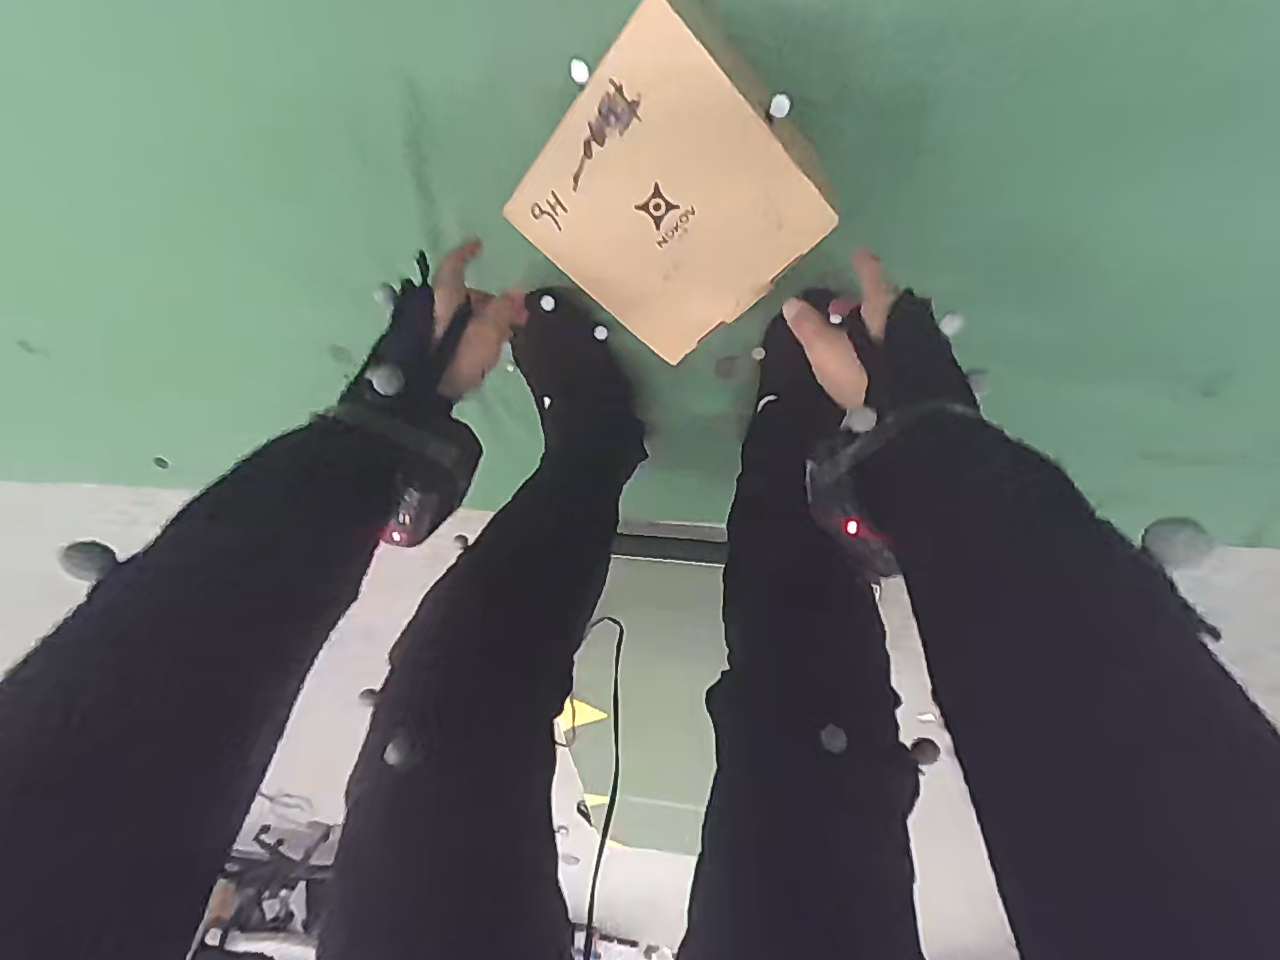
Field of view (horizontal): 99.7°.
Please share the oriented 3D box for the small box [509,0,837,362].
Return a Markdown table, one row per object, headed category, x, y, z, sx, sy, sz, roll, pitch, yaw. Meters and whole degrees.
| category | x | y | z | sx | sy | sz | roll | pitch | yaw |
| --- | --- | --- | --- | --- | --- | --- | --- | --- | --- |
| small box | 0.031 | -0.238 | 0.435 | 0.179 | 0.176 | 0.168 | 37 | 129 | -24 |
